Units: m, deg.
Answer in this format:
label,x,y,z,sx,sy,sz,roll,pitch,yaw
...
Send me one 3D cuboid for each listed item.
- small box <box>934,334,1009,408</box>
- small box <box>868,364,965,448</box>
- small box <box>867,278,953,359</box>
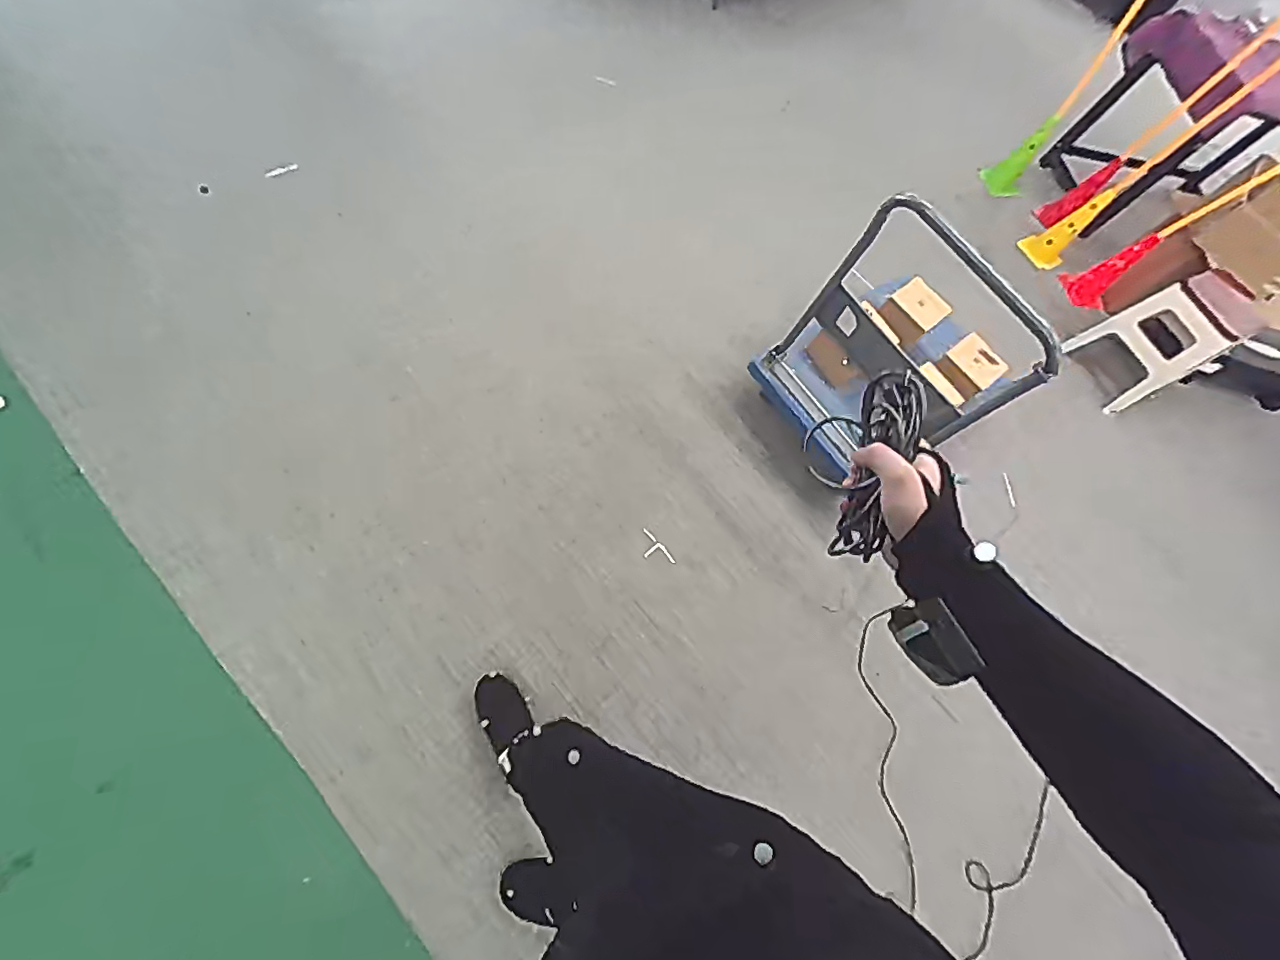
label,x,y,z,sx,sy,sz,roll,pitch,yaw
small box,1.065,-0.345,1.799,0.179,0.176,0.168,-33,78,-24
small box,0.860,-0.229,1.696,0.179,0.176,0.168,-30,78,-24
small box,0.911,-0.545,1.845,0.179,0.176,0.168,-35,80,-25
